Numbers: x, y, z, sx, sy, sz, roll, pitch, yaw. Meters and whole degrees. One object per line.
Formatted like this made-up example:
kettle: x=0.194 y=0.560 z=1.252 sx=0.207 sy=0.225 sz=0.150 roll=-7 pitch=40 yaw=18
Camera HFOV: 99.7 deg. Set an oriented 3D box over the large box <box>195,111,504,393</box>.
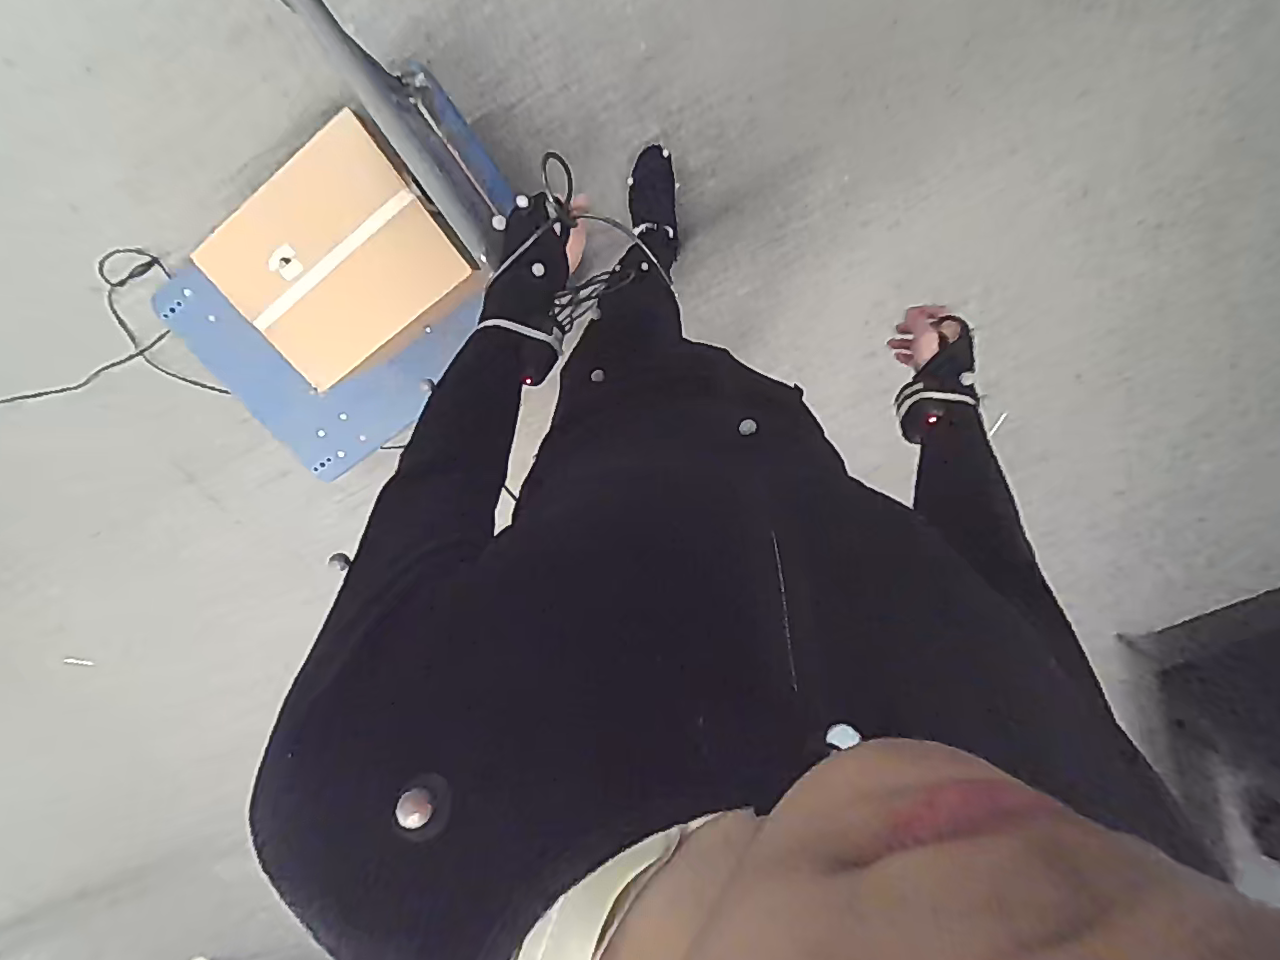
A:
large box: x=-0.554 y=-0.450 z=1.110 sx=0.408 sy=0.320 sz=0.320 roll=-32 pitch=109 yaw=13
